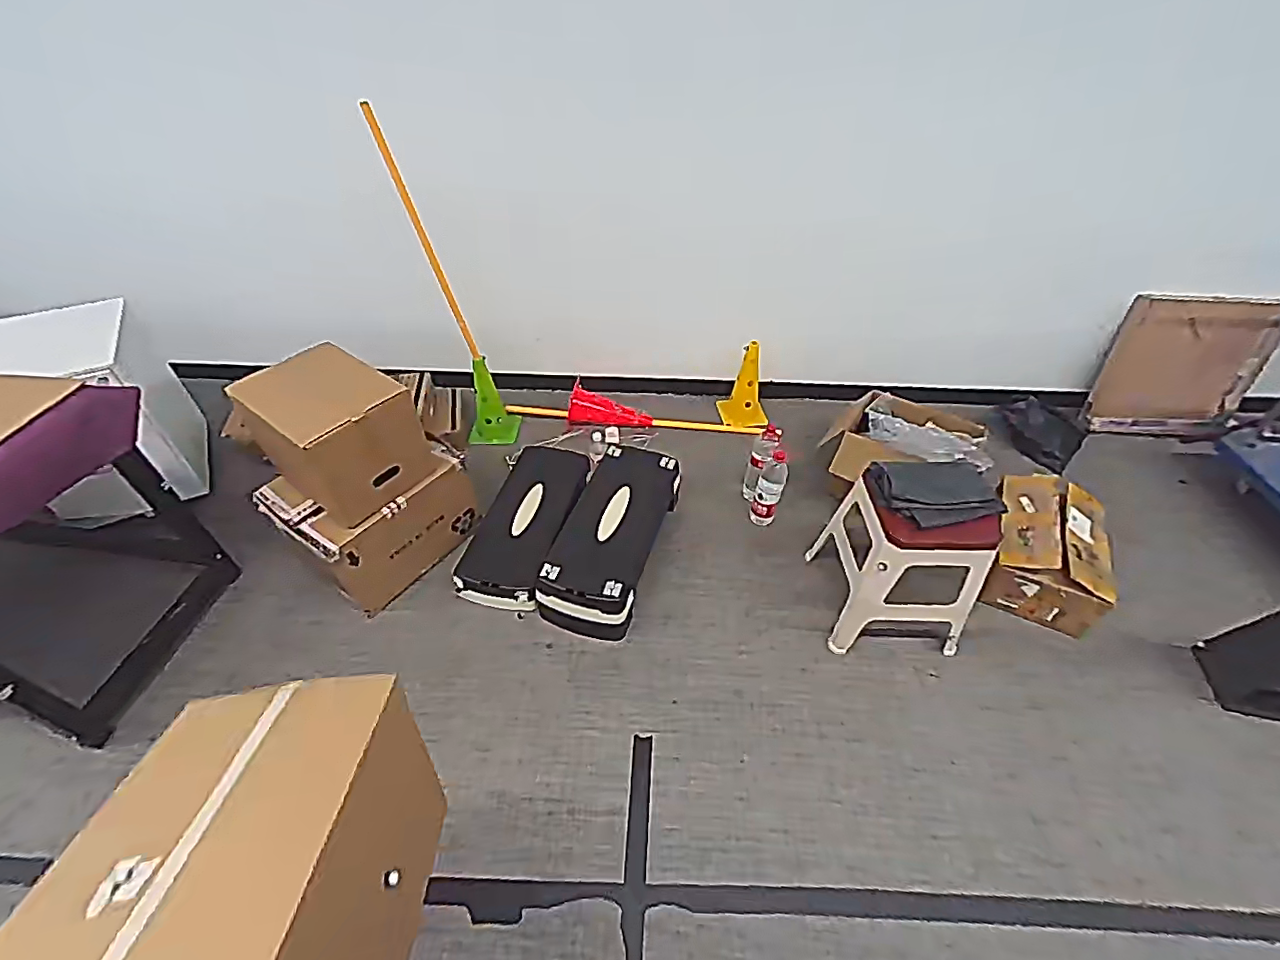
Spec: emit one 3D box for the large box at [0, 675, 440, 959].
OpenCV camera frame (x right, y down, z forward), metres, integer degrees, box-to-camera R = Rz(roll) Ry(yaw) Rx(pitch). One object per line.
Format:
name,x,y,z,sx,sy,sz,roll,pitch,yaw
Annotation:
large box,-0.499,0.536,0.723,0.320,0.320,0.408,-7,28,-1
